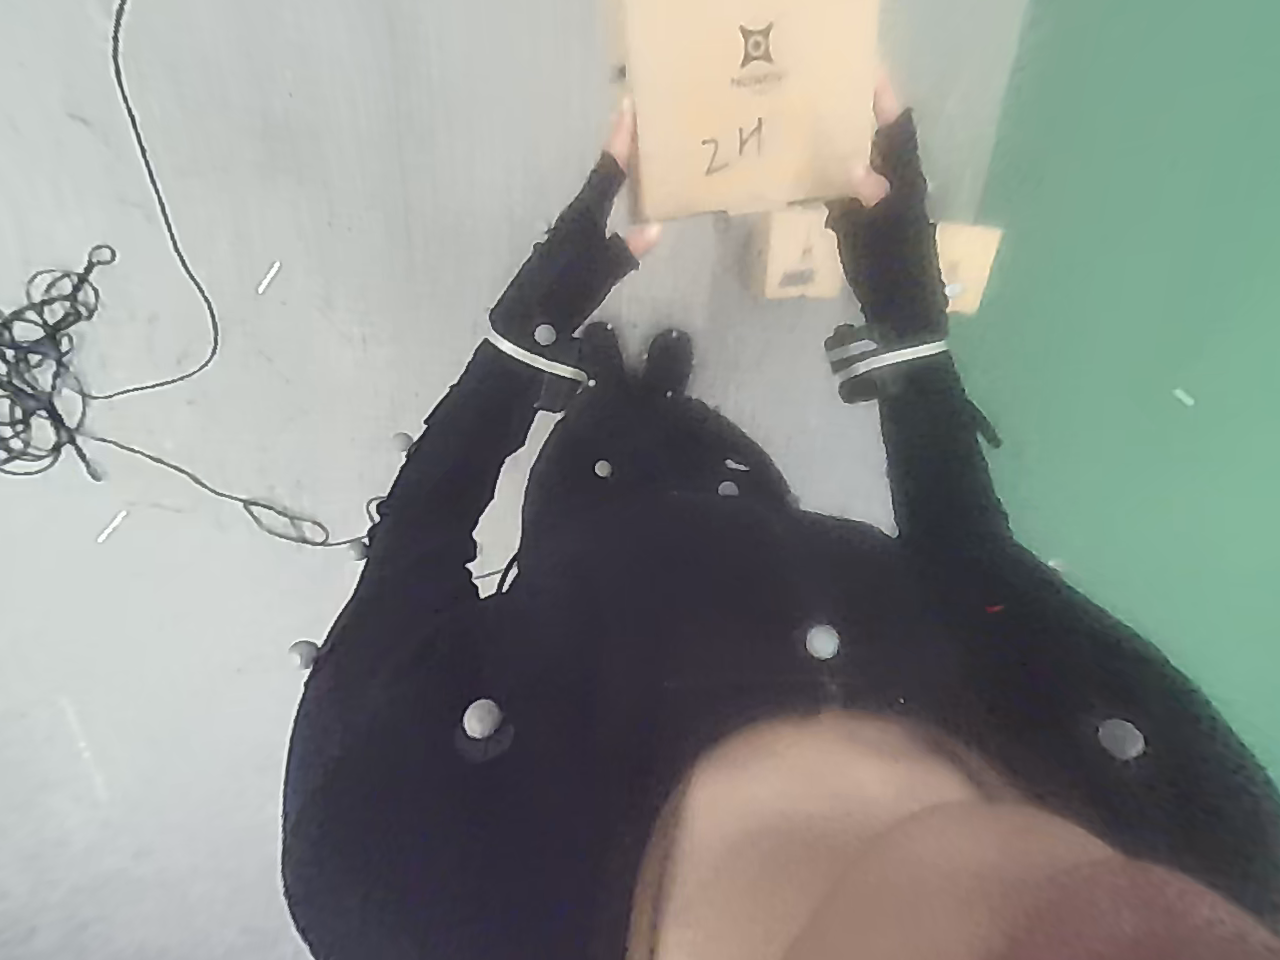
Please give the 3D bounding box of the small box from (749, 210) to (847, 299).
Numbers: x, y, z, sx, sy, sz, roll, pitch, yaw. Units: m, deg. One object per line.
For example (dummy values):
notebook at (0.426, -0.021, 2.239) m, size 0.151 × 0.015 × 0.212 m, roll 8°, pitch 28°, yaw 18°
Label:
small box at (0.349, -0.508, 1.229) m, size 0.168 × 0.176 × 0.179 m, roll 0°, pitch 110°, yaw -2°

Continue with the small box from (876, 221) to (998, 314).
small box at (0.672, -0.487, 1.249) m, size 0.168 × 0.176 × 0.179 m, roll 5°, pitch 111°, yaw -3°

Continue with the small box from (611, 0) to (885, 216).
small box at (0.070, -0.315, 0.425) m, size 0.168 × 0.176 × 0.179 m, roll -8°, pitch 115°, yaw -2°
